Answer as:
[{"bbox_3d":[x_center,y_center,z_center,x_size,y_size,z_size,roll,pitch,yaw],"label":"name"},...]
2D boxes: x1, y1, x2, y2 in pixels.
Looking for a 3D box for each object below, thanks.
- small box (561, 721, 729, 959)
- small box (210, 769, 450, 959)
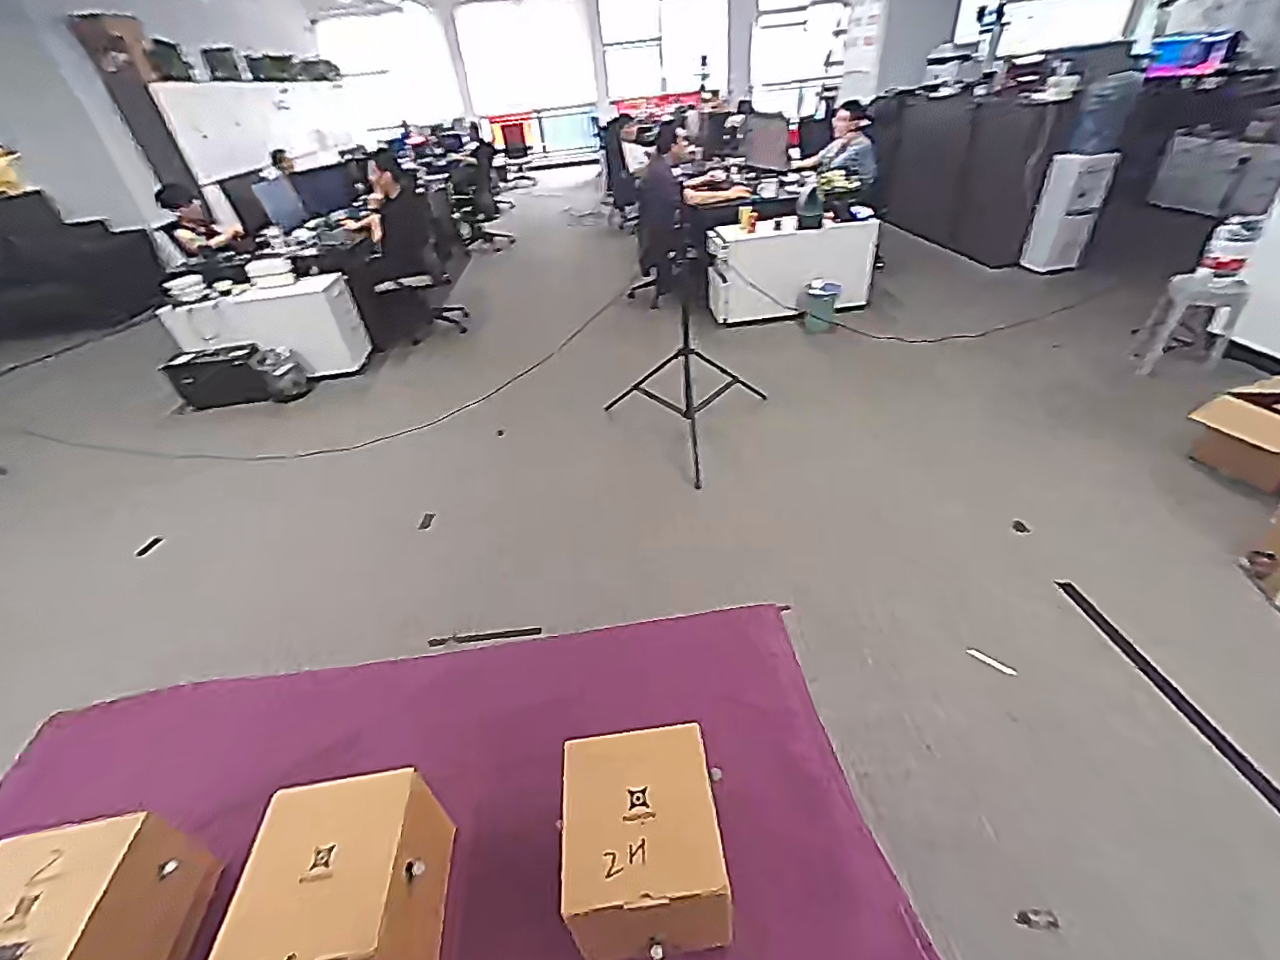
[{"bbox_3d":[0.005,0.418,0.633,0.168,0.176,0.179,-8,36,-1],"label":"small box"},{"bbox_3d":[-0.331,0.471,0.621,0.168,0.176,0.179,-9,37,-3],"label":"small box"}]
